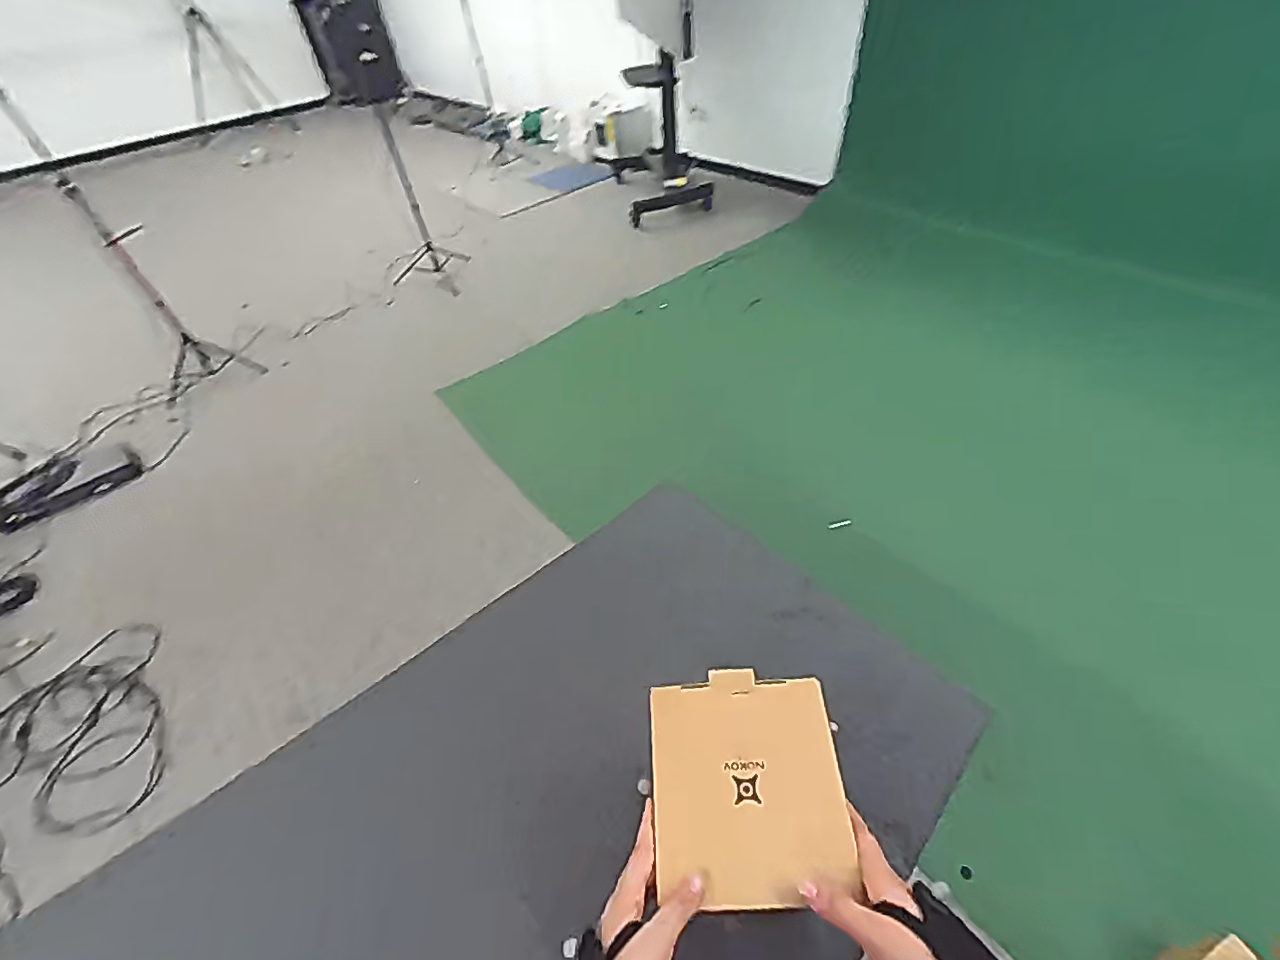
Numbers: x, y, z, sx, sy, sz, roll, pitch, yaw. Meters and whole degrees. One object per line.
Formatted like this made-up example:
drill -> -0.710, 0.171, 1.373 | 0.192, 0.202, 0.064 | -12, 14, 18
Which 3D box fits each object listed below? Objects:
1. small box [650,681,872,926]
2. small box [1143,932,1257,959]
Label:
small box -> 0.101, 0.311, 0.521 | 0.168, 0.176, 0.179 | -5, 52, 3
small box -> 0.999, 0.930, 0.936 | 0.179, 0.176, 0.168 | -21, 49, -14
